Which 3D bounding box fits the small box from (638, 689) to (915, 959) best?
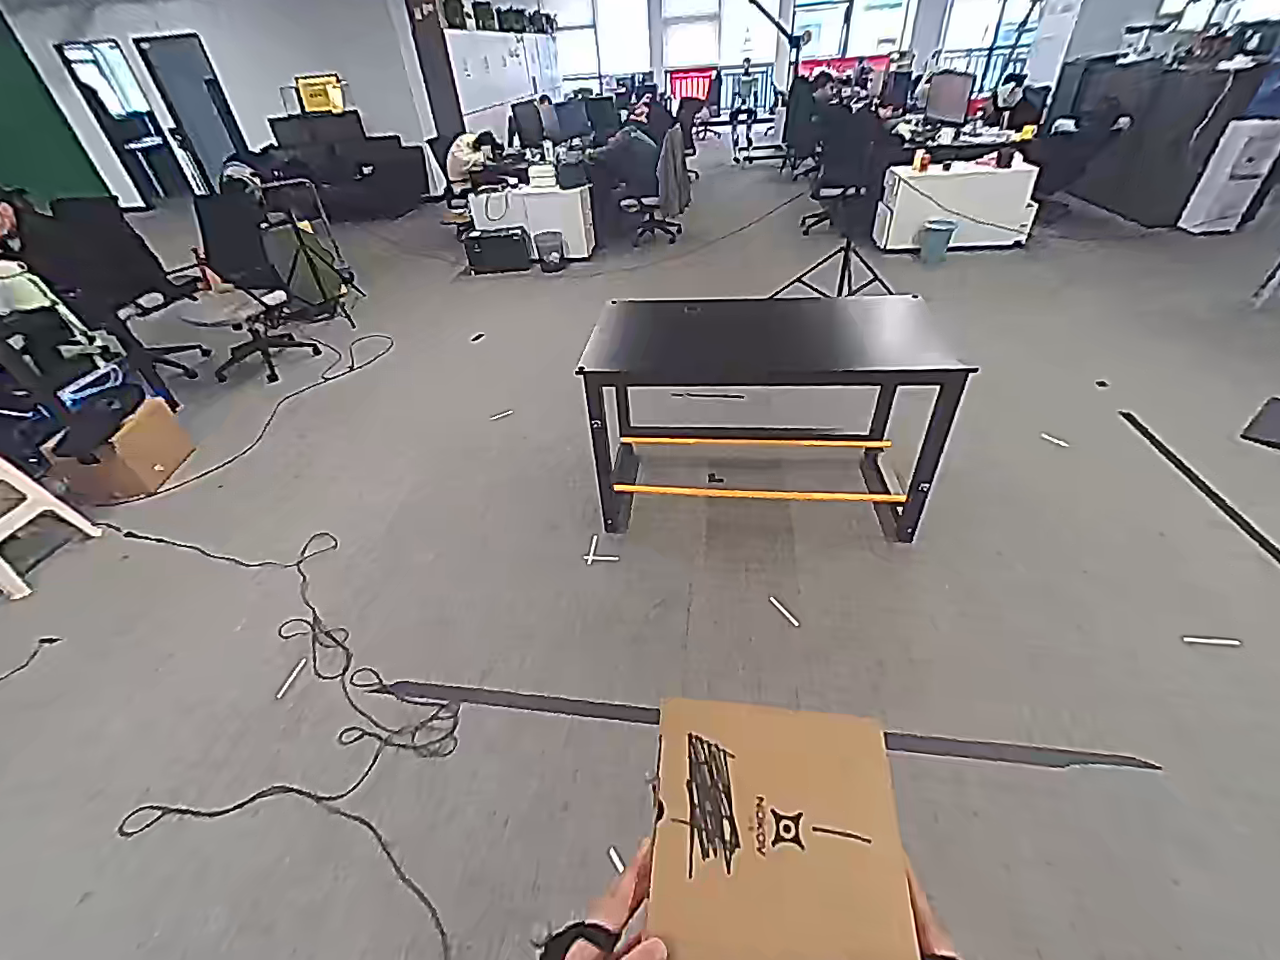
[{"bbox_3d":[0.095,0.293,0.449,0.179,0.176,0.168,5,50,4],"label":"small box"}]
